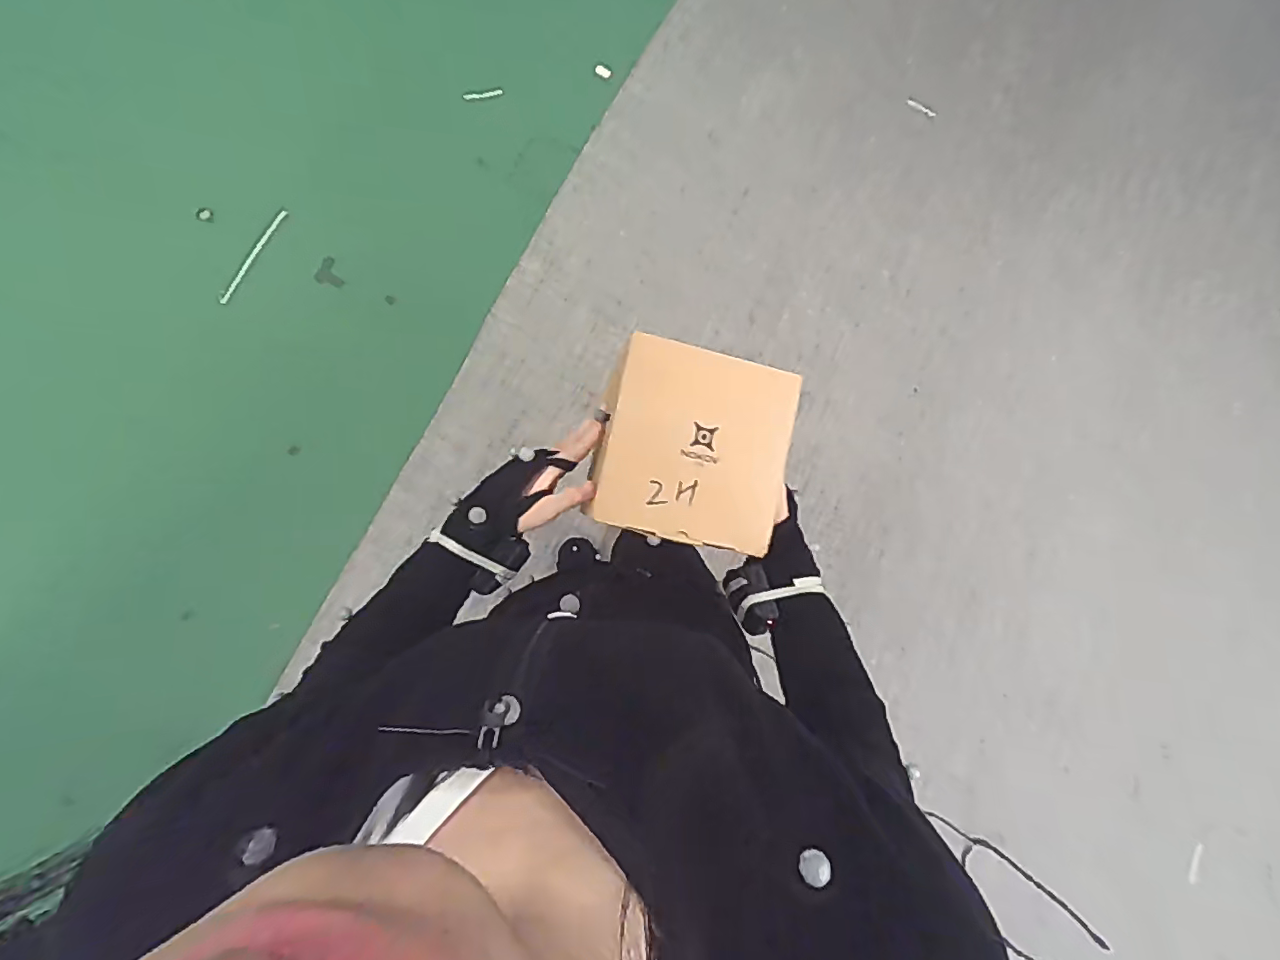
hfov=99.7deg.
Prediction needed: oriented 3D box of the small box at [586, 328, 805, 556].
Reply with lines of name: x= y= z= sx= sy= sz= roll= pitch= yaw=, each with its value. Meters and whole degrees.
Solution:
small box: x=0.043 y=-0.031 z=0.562 sx=0.168 sy=0.176 sz=0.179 roll=13 pitch=87 yaw=-10
